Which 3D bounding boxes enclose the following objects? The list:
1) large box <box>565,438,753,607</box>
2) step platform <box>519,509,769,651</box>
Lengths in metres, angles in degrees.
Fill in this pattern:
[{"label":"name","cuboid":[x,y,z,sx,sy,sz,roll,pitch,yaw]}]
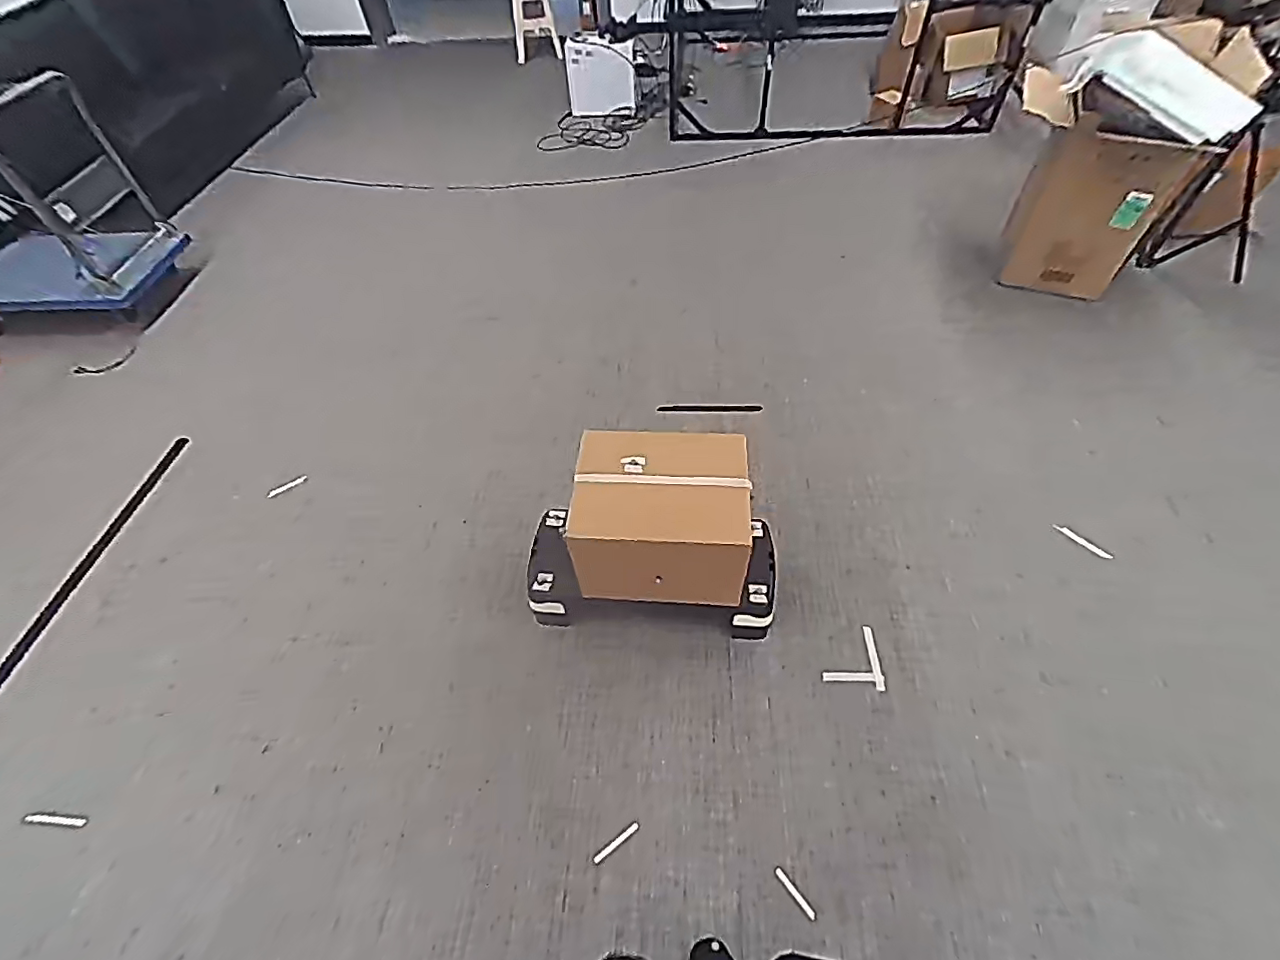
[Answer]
[{"label":"large box","cuboid":[0.057,0.111,1.343,0.408,0.320,0.320,1,52,6]},{"label":"step platform","cuboid":[0.014,0.270,1.525,0.684,0.204,0.286,5,53,9]}]
